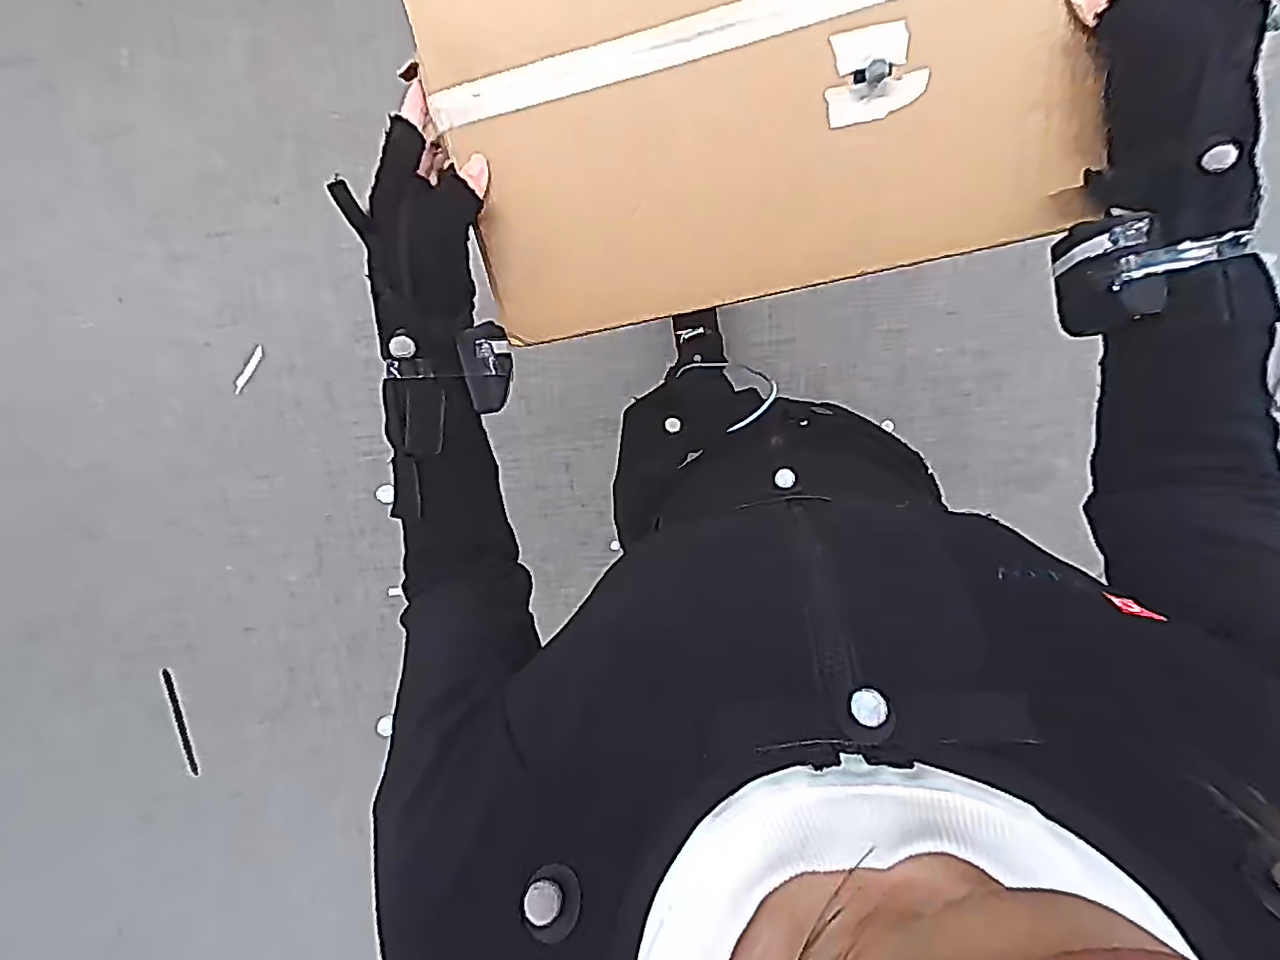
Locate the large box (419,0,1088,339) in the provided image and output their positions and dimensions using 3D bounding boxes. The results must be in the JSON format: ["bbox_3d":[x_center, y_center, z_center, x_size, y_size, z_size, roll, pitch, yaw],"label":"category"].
[{"bbox_3d":[0.076,-0.338,0.477,0.408,0.320,0.320,-10,112,9],"label":"large box"}]
